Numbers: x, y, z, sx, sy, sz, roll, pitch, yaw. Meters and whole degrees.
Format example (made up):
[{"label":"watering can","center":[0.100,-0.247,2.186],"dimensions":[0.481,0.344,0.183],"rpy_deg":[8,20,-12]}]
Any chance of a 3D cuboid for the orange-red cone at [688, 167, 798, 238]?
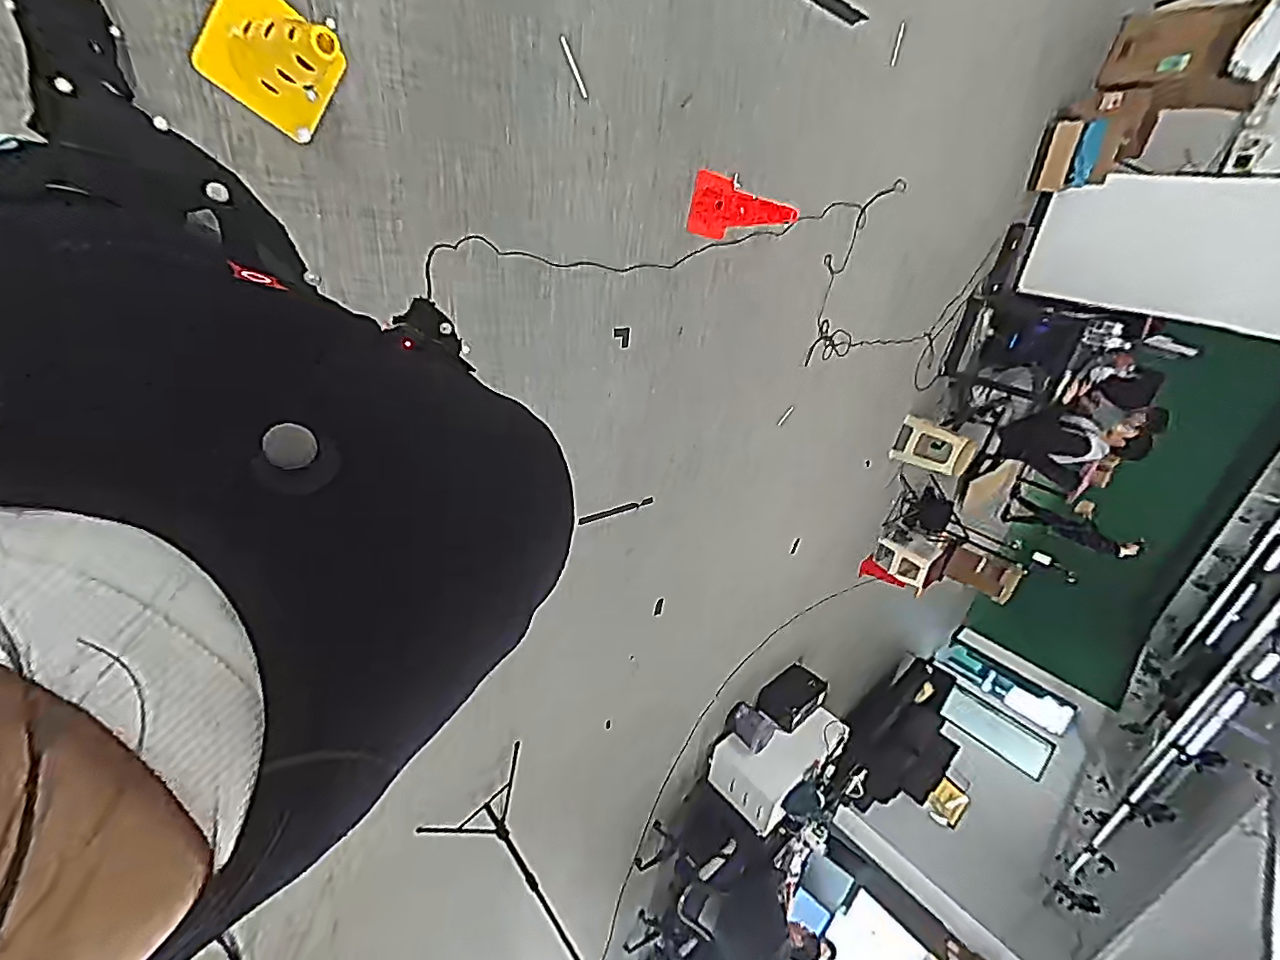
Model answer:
[{"label":"orange-red cone","center":[0.361,-0.898,1.782],"dimensions":[0.199,0.360,0.198],"rpy_deg":[-8,119,-42]}]
